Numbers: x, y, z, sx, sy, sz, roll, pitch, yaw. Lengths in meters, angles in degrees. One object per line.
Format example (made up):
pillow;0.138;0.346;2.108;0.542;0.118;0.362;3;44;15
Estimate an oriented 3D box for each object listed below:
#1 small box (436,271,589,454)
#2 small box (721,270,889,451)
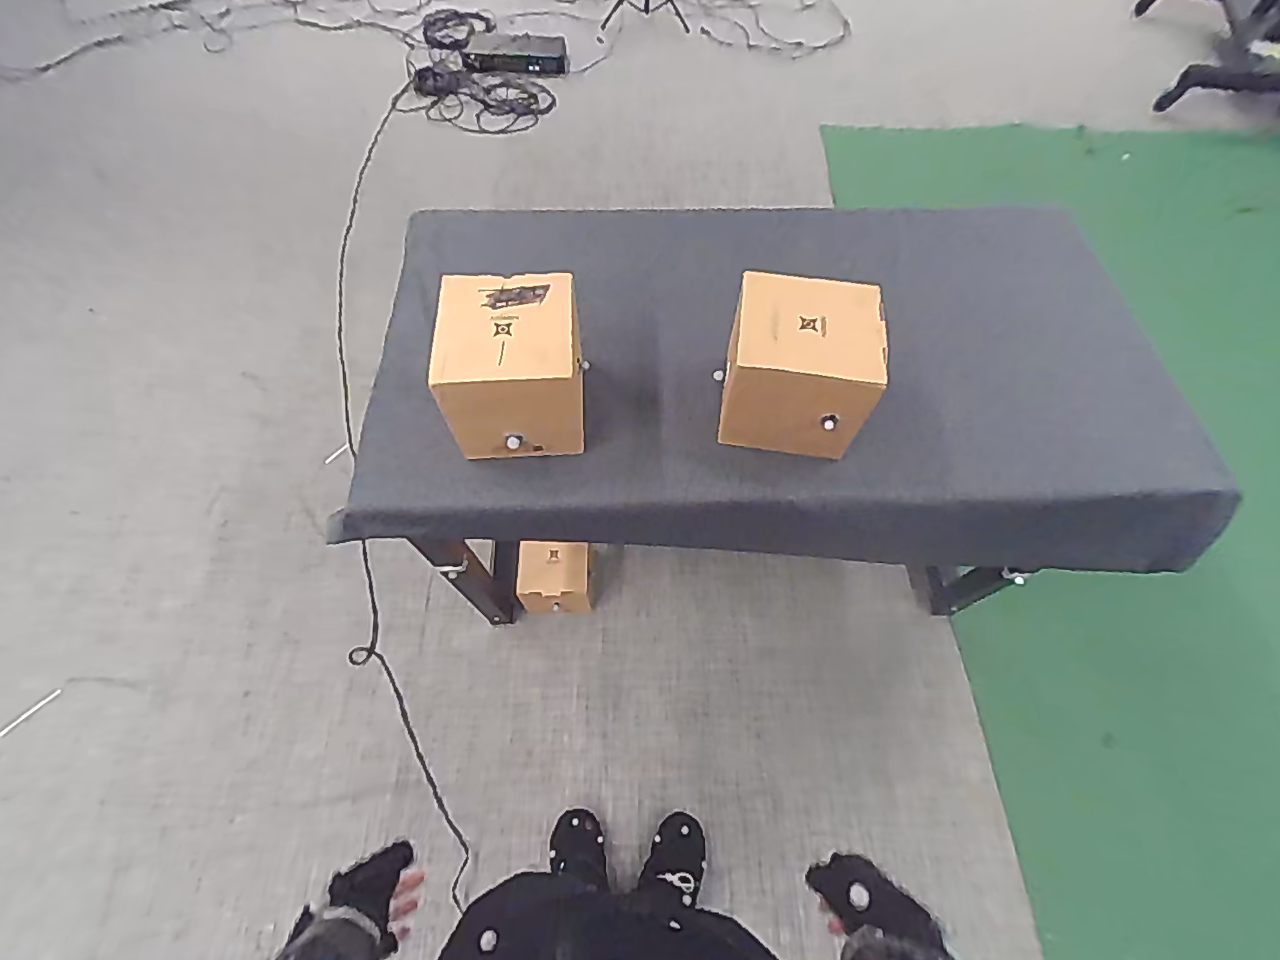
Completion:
small box;-0.157;-0.153;0.724;0.168;0.176;0.179;-3;62;-3
small box;0.213;-0.154;0.734;0.179;0.176;0.168;7;61;4
